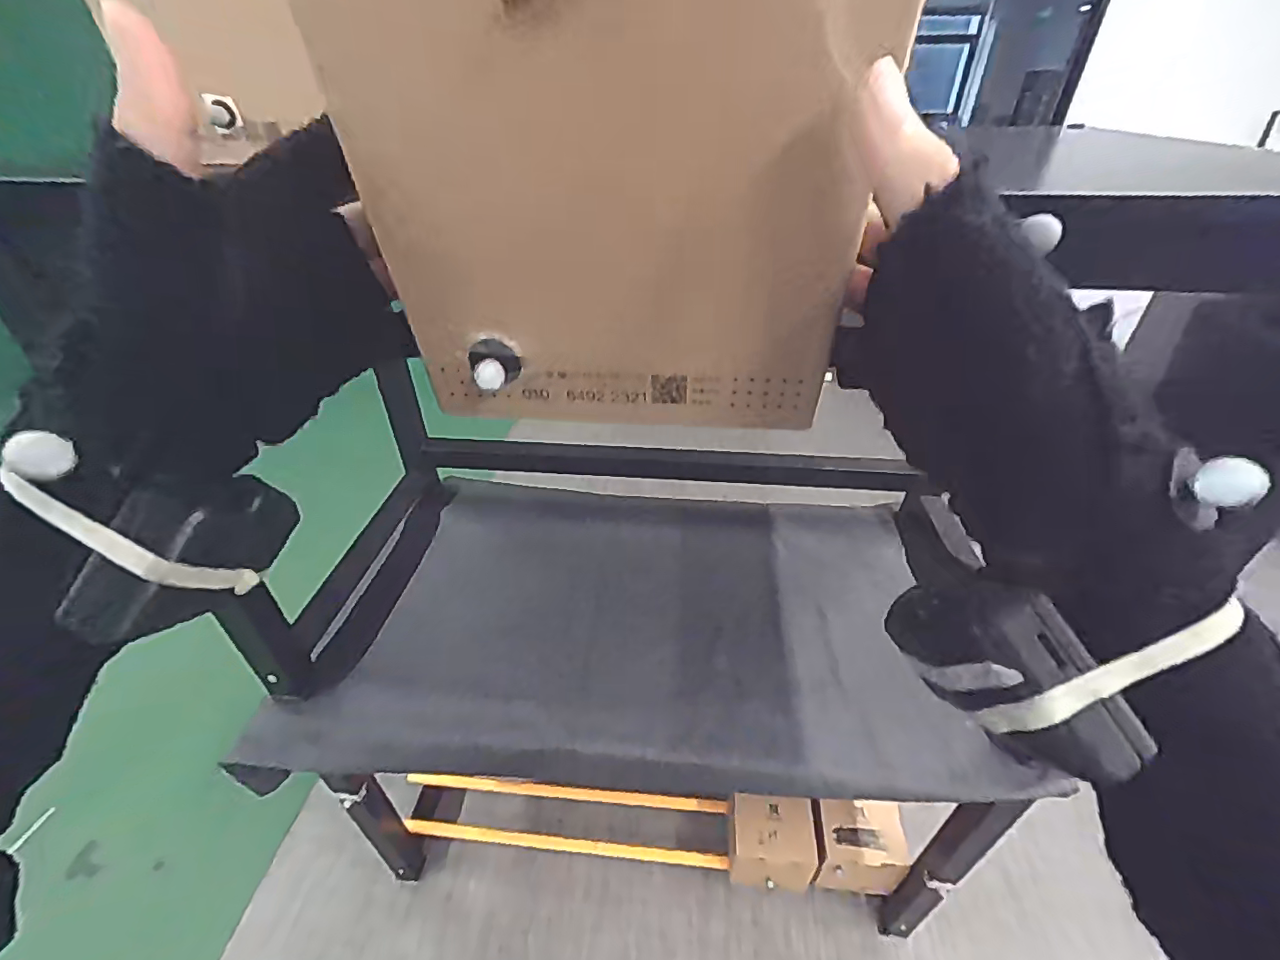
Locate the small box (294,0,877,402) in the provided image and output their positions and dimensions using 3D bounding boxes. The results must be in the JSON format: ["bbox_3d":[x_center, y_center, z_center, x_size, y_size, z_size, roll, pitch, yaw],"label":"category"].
[{"bbox_3d":[-0.005,-0.150,0.242,0.168,0.176,0.179,3,45,5],"label":"small box"}]
